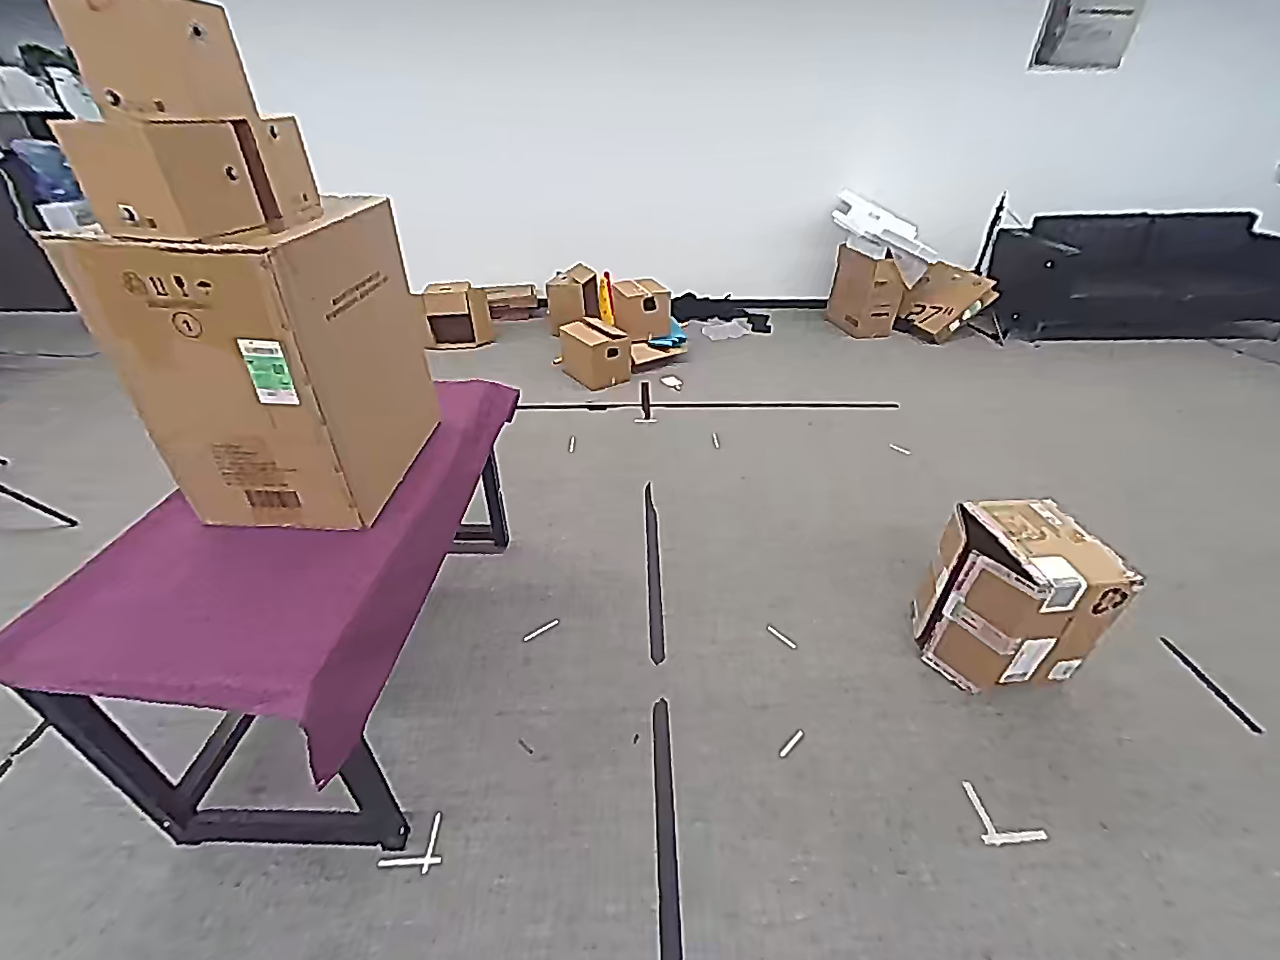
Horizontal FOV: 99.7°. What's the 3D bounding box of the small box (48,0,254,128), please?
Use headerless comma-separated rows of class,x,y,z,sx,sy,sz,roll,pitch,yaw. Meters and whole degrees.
small box,-0.810,-0.705,0.924,0.168,0.176,0.179,0,34,-2

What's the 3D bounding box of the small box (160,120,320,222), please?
small box,-0.809,-0.637,1.115,0.179,0.176,0.168,0,36,1
